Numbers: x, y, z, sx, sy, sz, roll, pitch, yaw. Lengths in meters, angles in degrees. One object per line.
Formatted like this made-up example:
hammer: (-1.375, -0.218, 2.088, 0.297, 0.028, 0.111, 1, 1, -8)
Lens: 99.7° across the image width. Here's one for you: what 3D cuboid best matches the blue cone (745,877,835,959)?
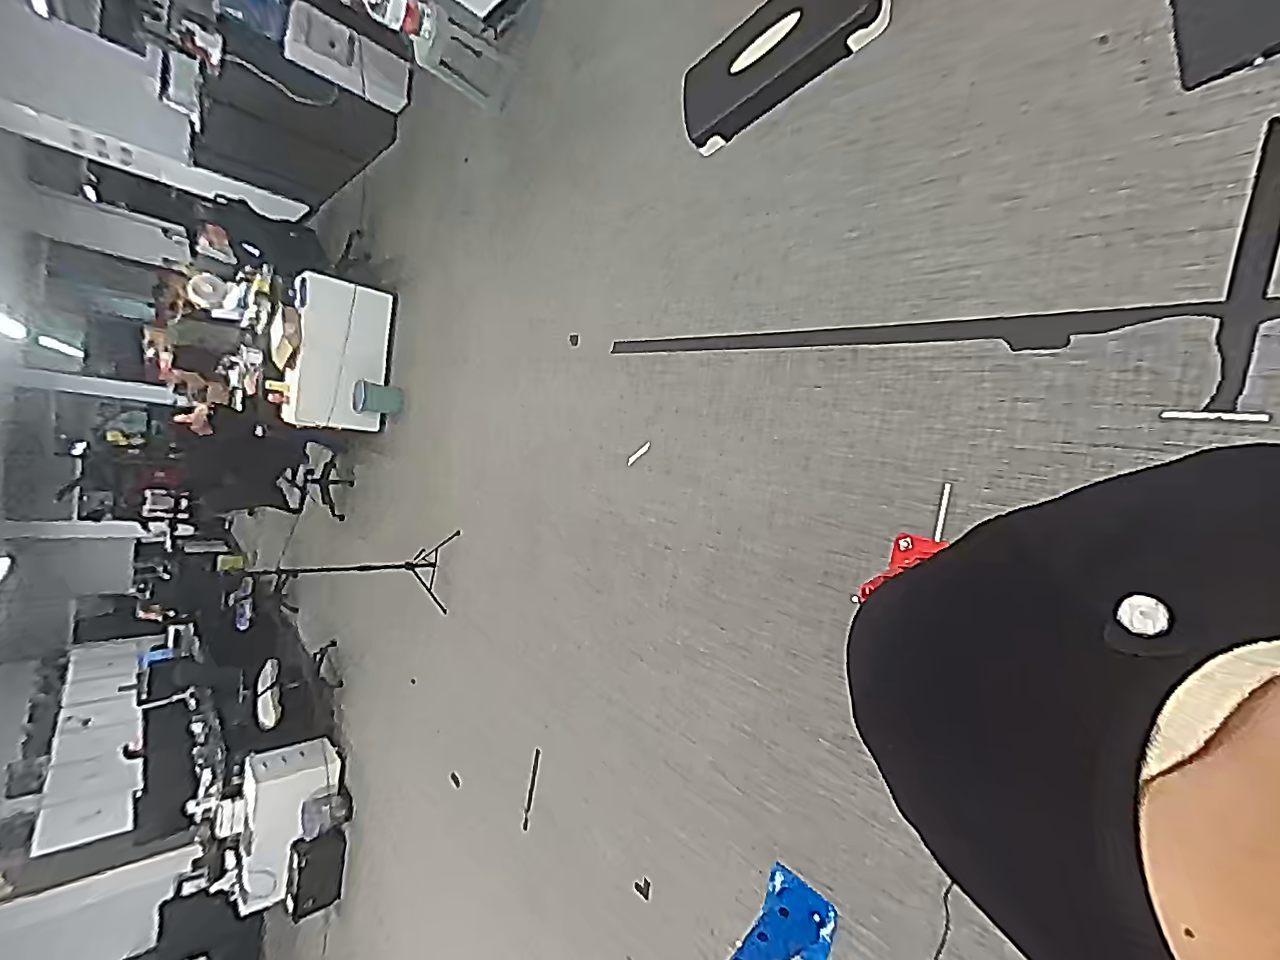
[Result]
blue cone: (0.323, 1.218, 1.378, 0.193, 0.380, 0.192, 17, 99, 46)
